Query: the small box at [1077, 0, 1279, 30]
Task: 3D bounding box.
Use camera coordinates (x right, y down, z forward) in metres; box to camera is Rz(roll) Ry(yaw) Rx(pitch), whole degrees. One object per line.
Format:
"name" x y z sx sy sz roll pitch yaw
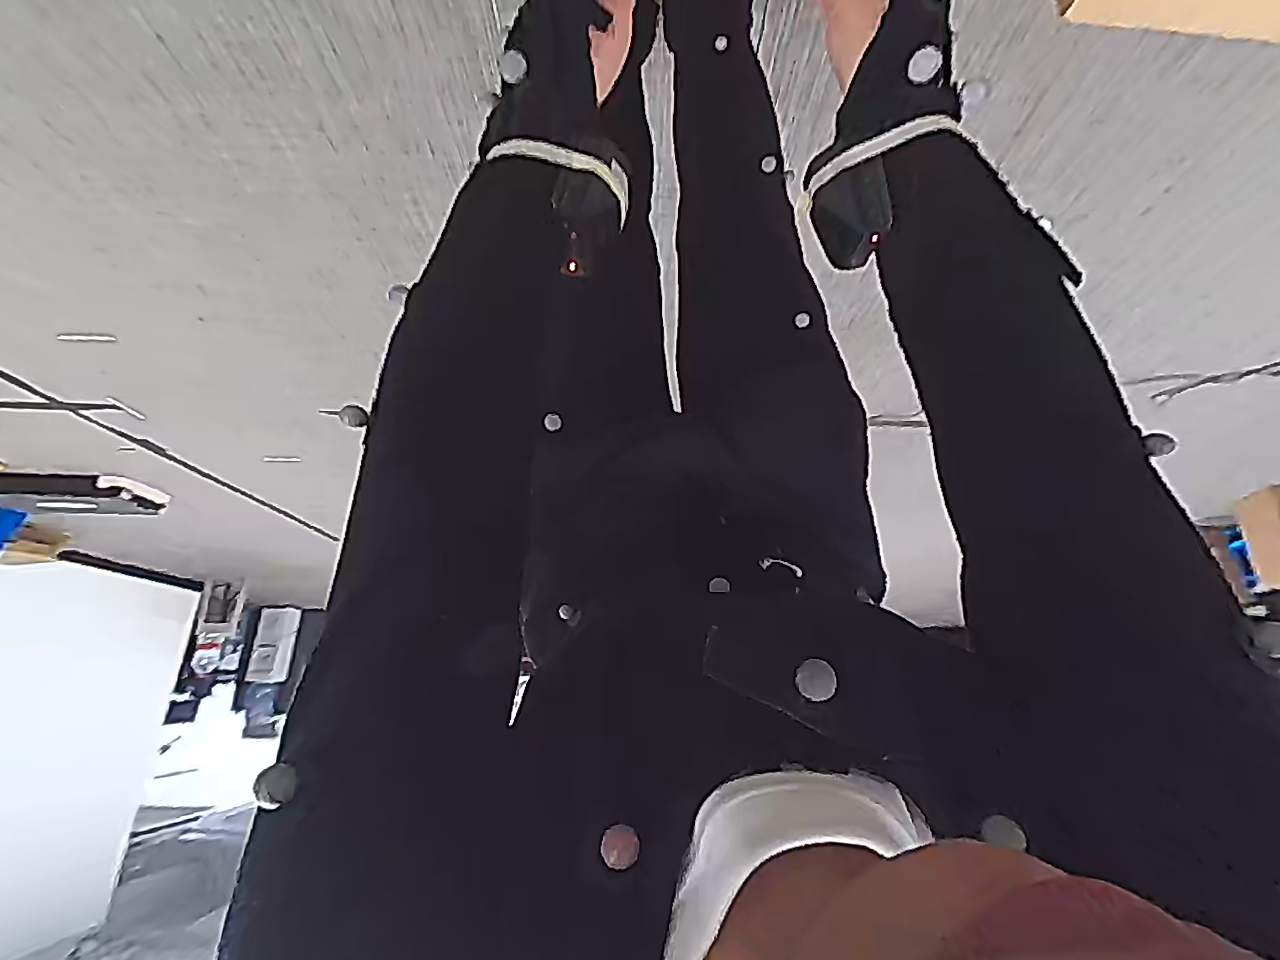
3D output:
"small box" 0.324 -0.362 0.257 0.179 0.176 0.168 1 159 -4
